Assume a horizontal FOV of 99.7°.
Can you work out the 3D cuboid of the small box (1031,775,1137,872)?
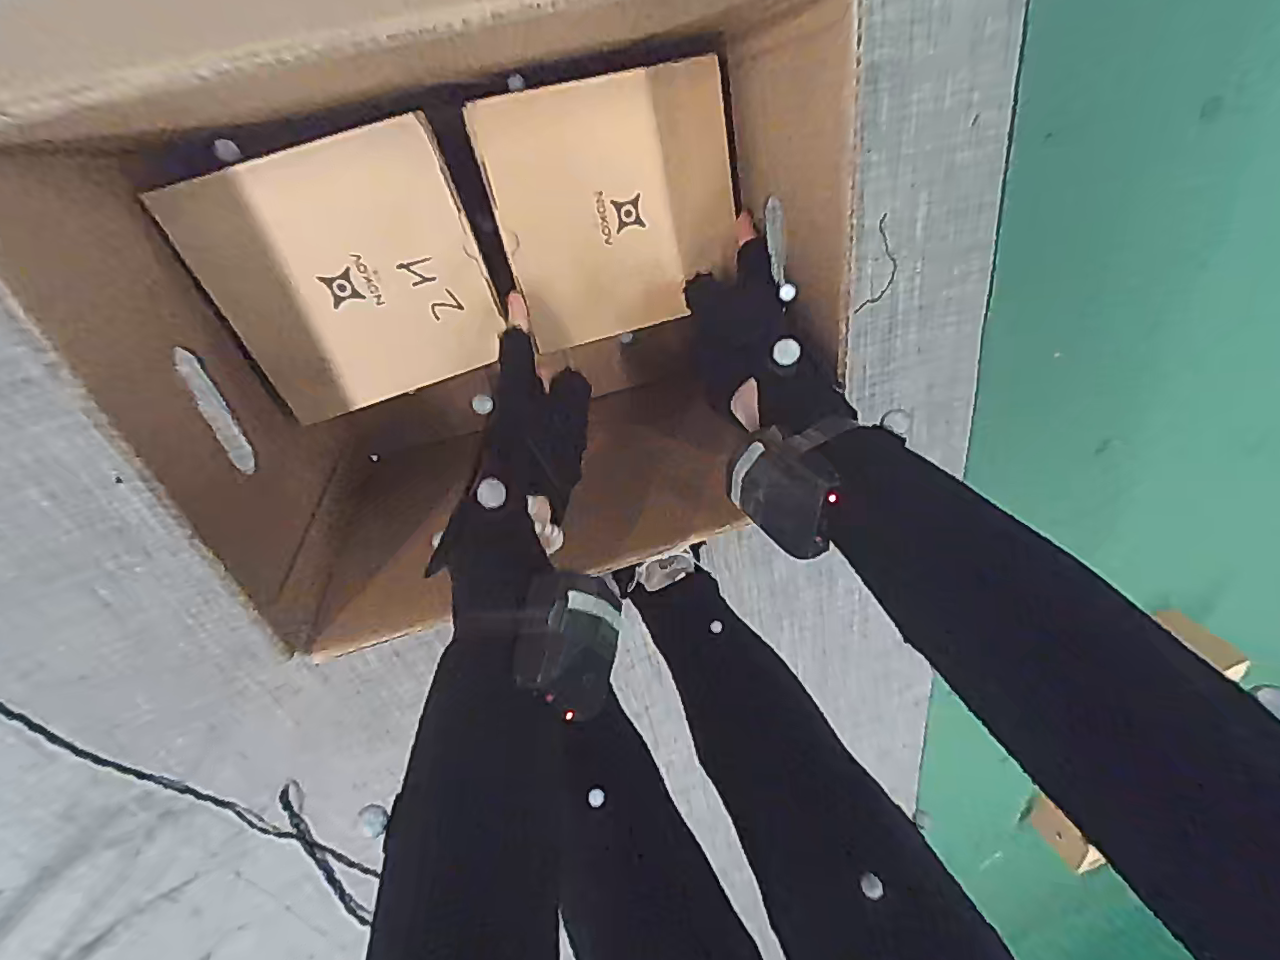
[{"bbox_3d":[1.334,1.038,1.640,0.168,0.176,0.179,-17,123,-7],"label":"small box"}]
